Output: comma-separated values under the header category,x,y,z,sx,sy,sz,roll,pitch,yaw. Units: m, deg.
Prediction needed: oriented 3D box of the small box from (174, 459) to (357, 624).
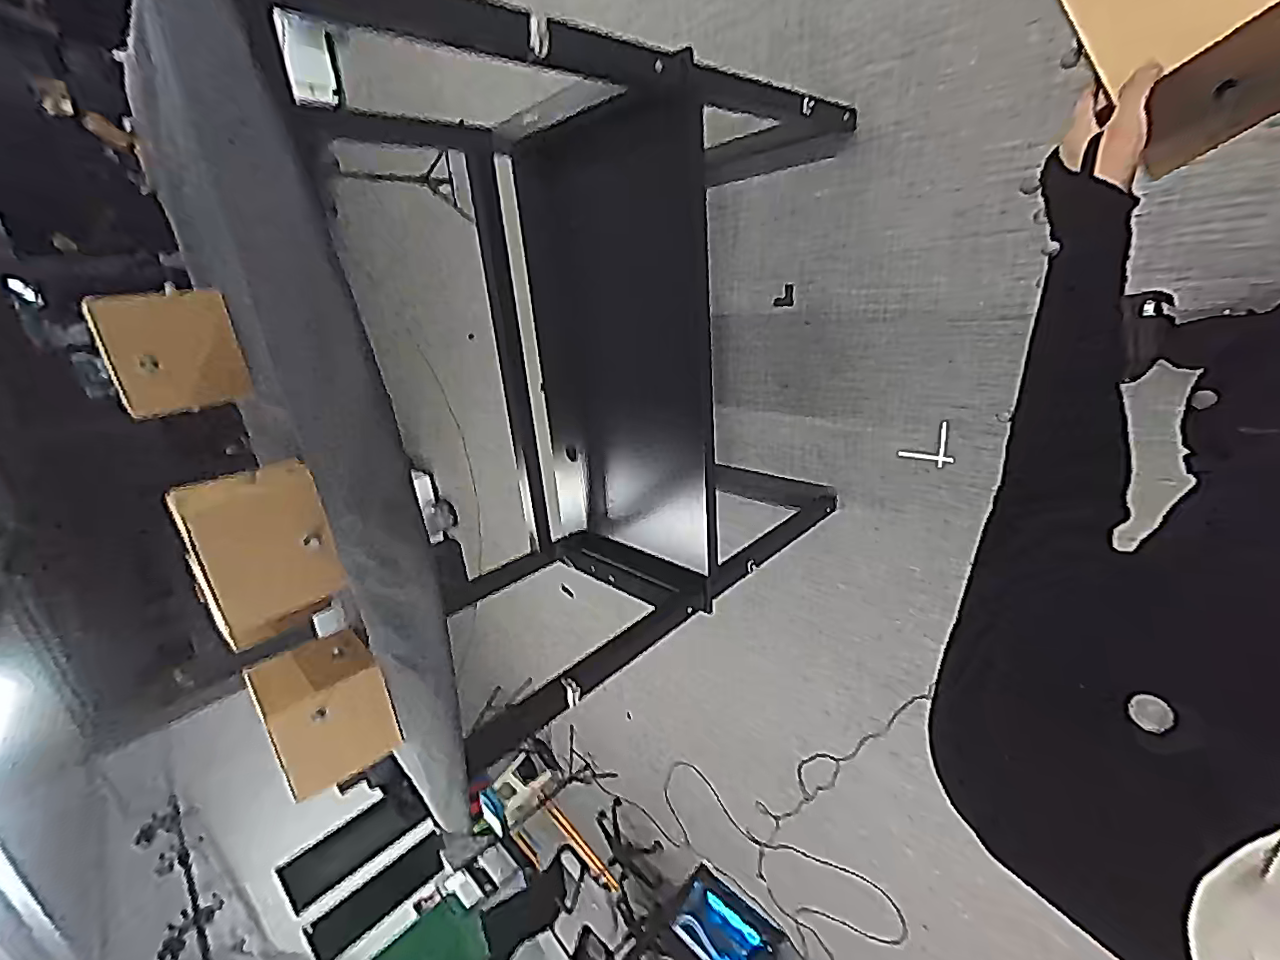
category,x,y,z,sx,sy,sz,roll,pitch,yaw
small box,-0.555,0.077,0.810,0.168,0.176,0.179,15,118,44

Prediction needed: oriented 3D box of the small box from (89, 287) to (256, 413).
category,x,y,z,sx,sy,sz,roll,pitch,yaw
small box,-0.785,-0.226,0.917,0.168,0.176,0.179,15,119,43

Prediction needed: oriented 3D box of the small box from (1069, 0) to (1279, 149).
category,x,y,z,sx,sy,sz,roll,pitch,yaw
small box,0.484,-0.416,0.449,0.168,0.176,0.179,-26,67,48

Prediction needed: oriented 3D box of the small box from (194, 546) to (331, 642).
category,x,y,z,sx,sy,sz,roll,pitch,yaw
small box,-0.730,0.182,1.054,0.179,0.176,0.168,7,114,46
